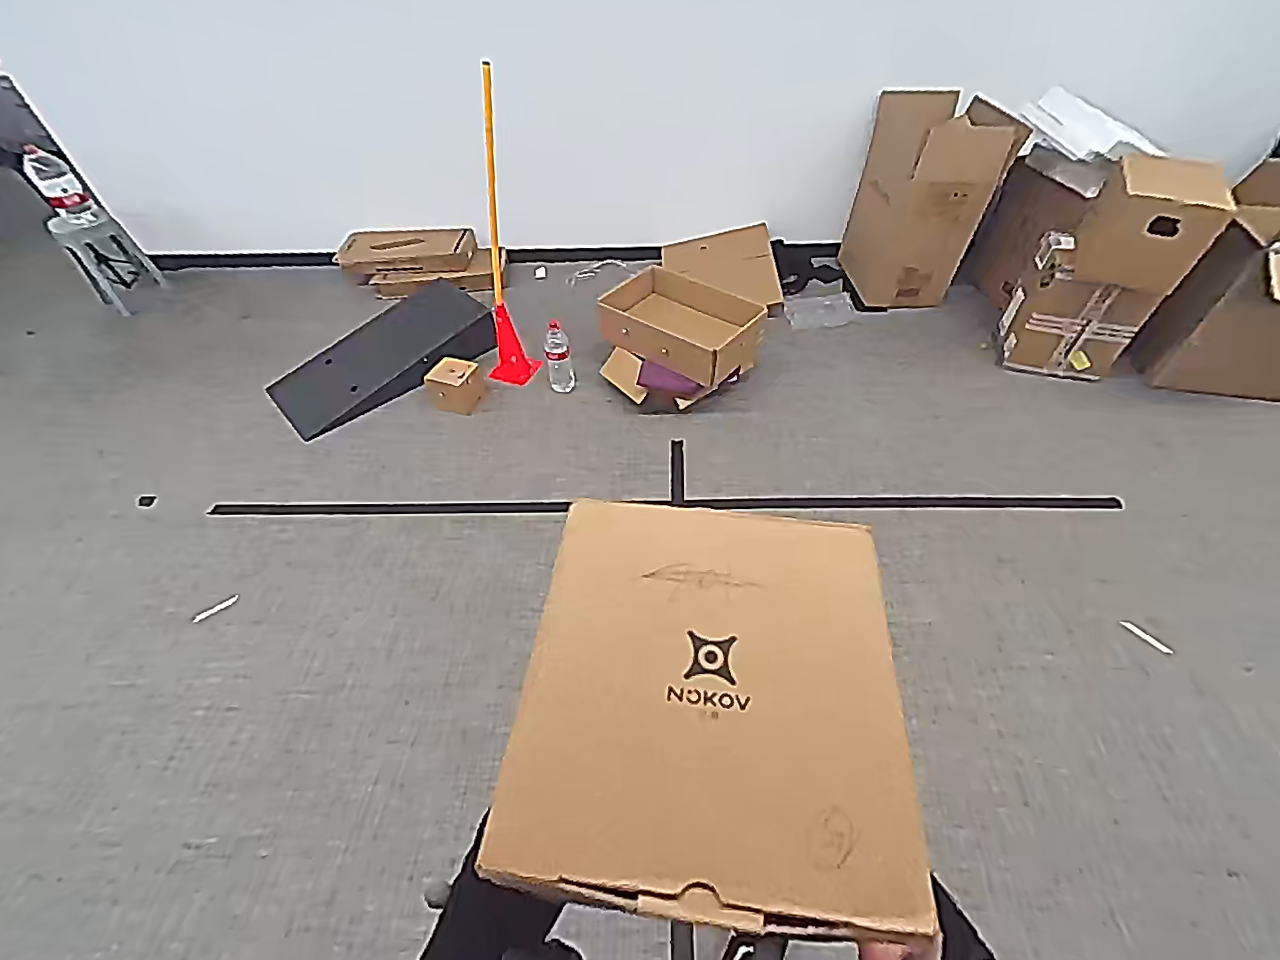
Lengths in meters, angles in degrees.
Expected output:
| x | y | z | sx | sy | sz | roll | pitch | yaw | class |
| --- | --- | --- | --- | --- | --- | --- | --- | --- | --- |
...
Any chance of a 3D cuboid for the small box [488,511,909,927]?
| x | y | z | sx | sy | sz | roll | pitch | yaw | class |
| --- | --- | --- | --- | --- | --- | --- | --- | --- | --- |
| 0.029 | 0.142 | 0.319 | 0.168 | 0.176 | 0.179 | 5 | 49 | 3 | small box |
